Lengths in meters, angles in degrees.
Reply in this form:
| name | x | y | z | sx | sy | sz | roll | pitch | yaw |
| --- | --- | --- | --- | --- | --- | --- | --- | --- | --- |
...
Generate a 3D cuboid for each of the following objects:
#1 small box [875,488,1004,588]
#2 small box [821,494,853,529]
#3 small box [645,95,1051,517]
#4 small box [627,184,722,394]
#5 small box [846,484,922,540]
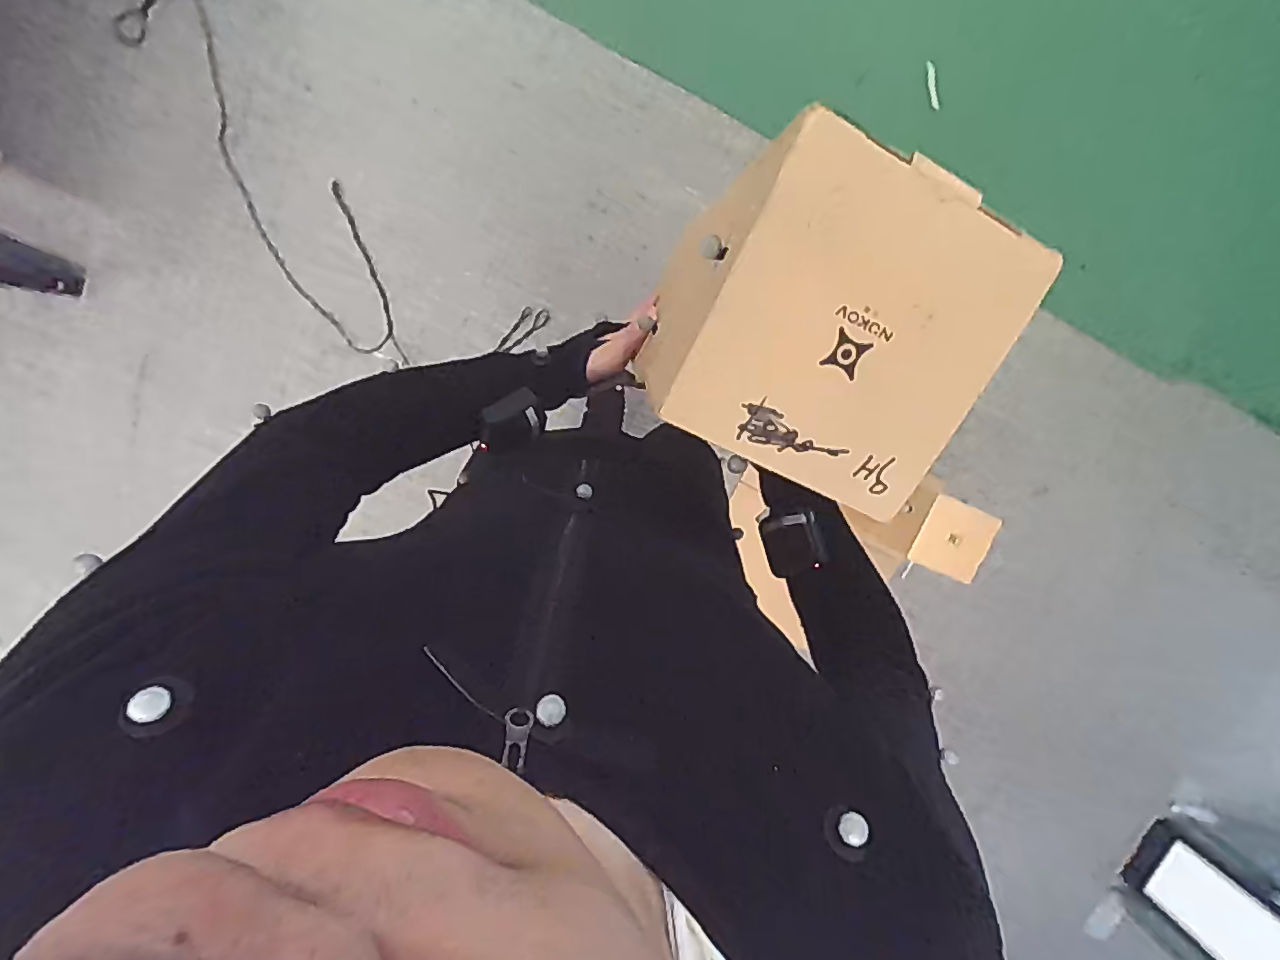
| name | x | y | z | sx | sy | sz | roll | pitch | yaw |
| --- | --- | --- | --- | --- | --- | --- | --- | --- | --- |
| small box | 0.699 | 0.130 | 1.286 | 0.179 | 0.176 | 0.168 | 22 | 97 | -9 |
| small box | 0.672 | 0.066 | 1.604 | 0.179 | 0.176 | 0.168 | 19 | 98 | -7 |
| small box | 0.109 | -0.107 | 0.373 | 0.168 | 0.176 | 0.179 | 23 | 107 | -10 |
| small box | 0.096 | -0.152 | 0.529 | 0.168 | 0.176 | 0.179 | 24 | 105 | -11 |
| small box | 0.686 | 0.096 | 1.444 | 0.179 | 0.176 | 0.168 | 22 | 98 | -9 |
